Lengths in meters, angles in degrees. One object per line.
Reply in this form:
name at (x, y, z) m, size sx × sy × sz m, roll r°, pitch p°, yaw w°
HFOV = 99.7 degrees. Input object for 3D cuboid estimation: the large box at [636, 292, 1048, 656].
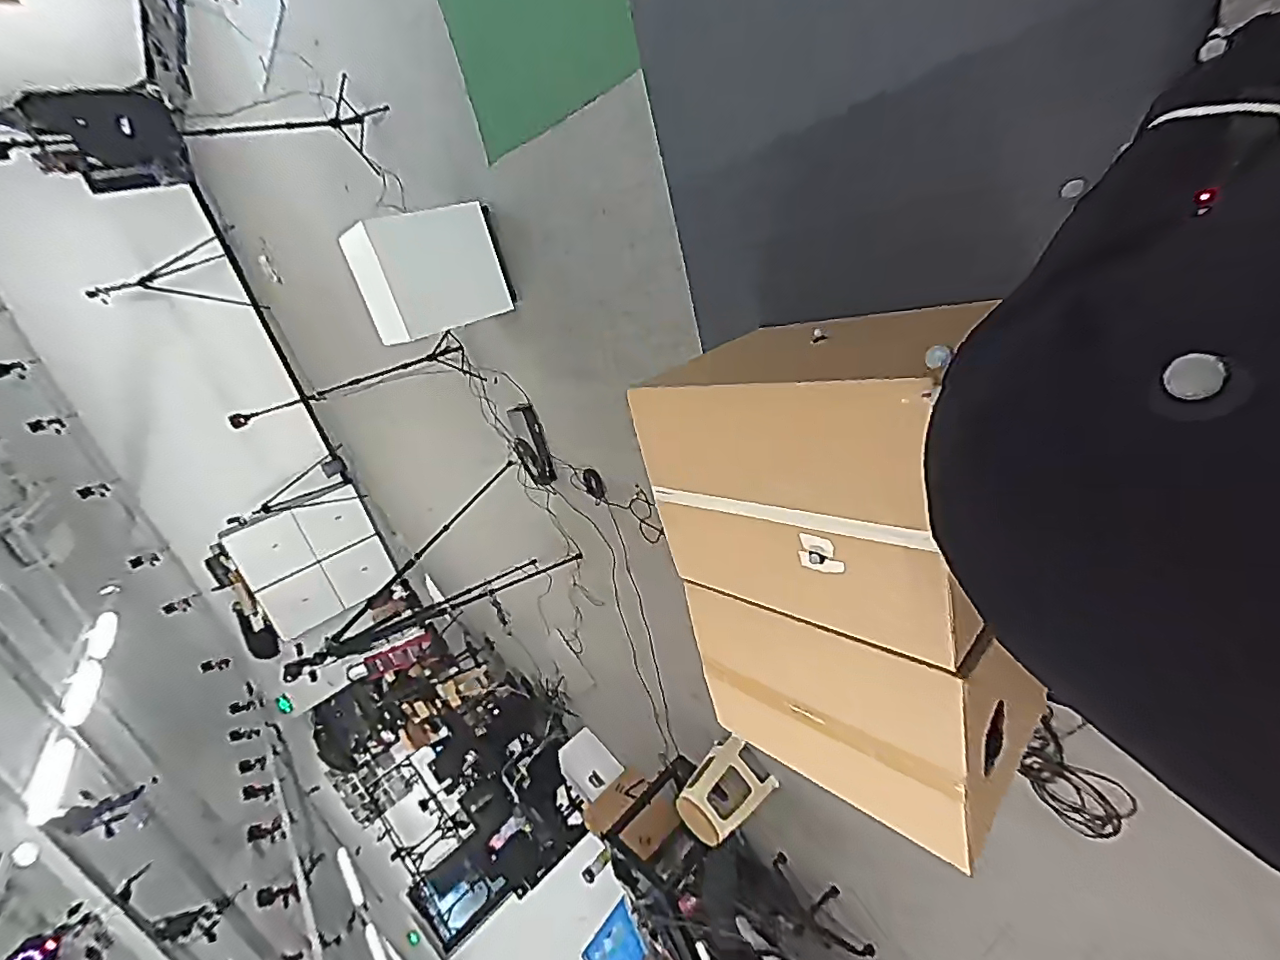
large box at (0.264, -0.035, 0.725) m, size 0.408 × 0.320 × 0.320 m, roll 8°, pitch 121°, yaw 49°
